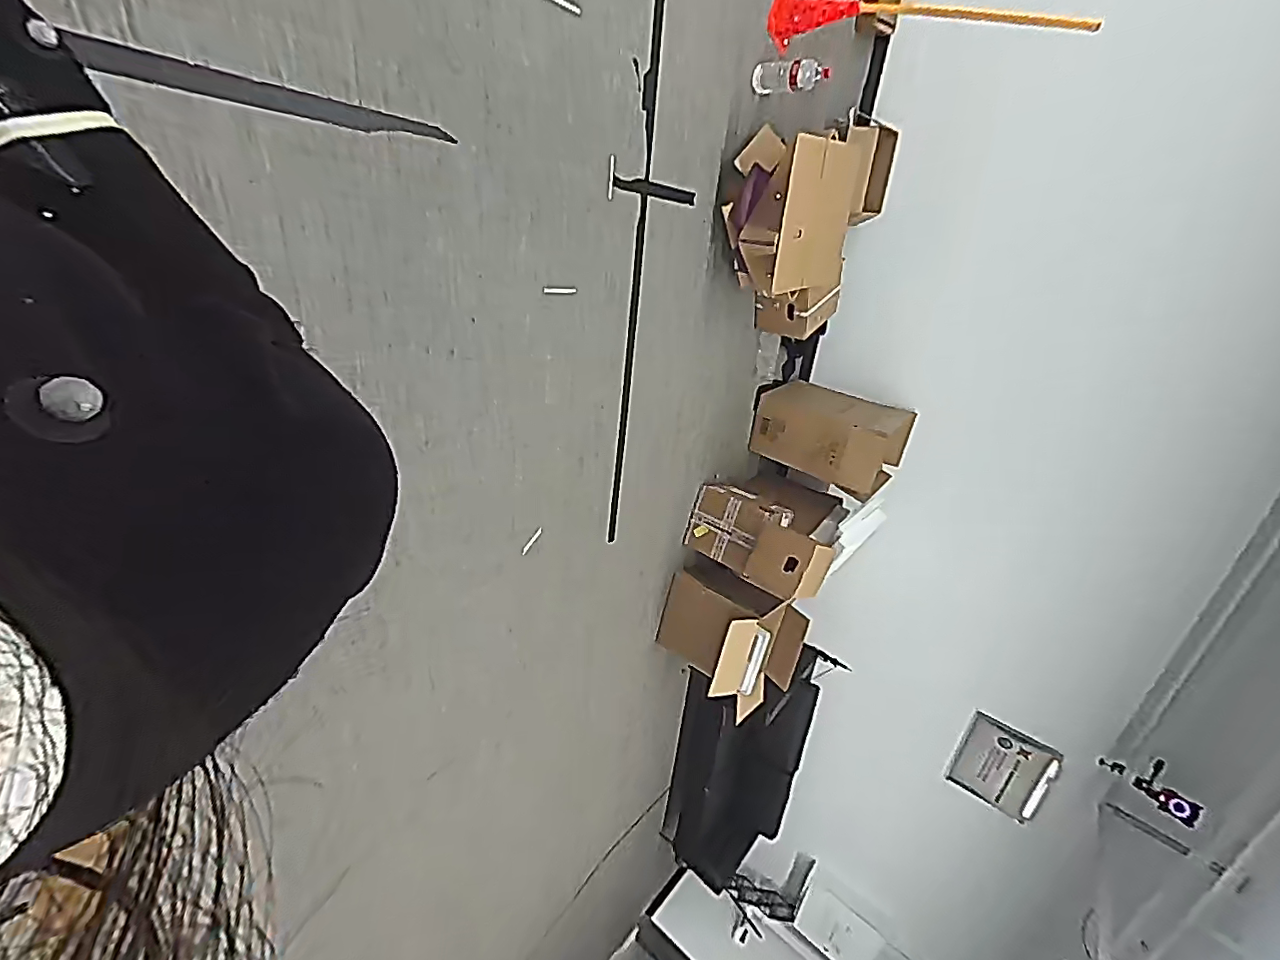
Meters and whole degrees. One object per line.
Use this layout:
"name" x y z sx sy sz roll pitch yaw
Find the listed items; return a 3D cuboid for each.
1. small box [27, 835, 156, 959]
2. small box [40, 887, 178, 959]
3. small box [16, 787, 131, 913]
"small box" -1.220 0.951 1.207 0.179 0.176 0.168 -10 116 -53
"small box" -1.095 1.012 1.123 0.179 0.176 0.168 -13 119 -51
"small box" -1.346 0.889 1.292 0.179 0.176 0.168 -14 121 -51
